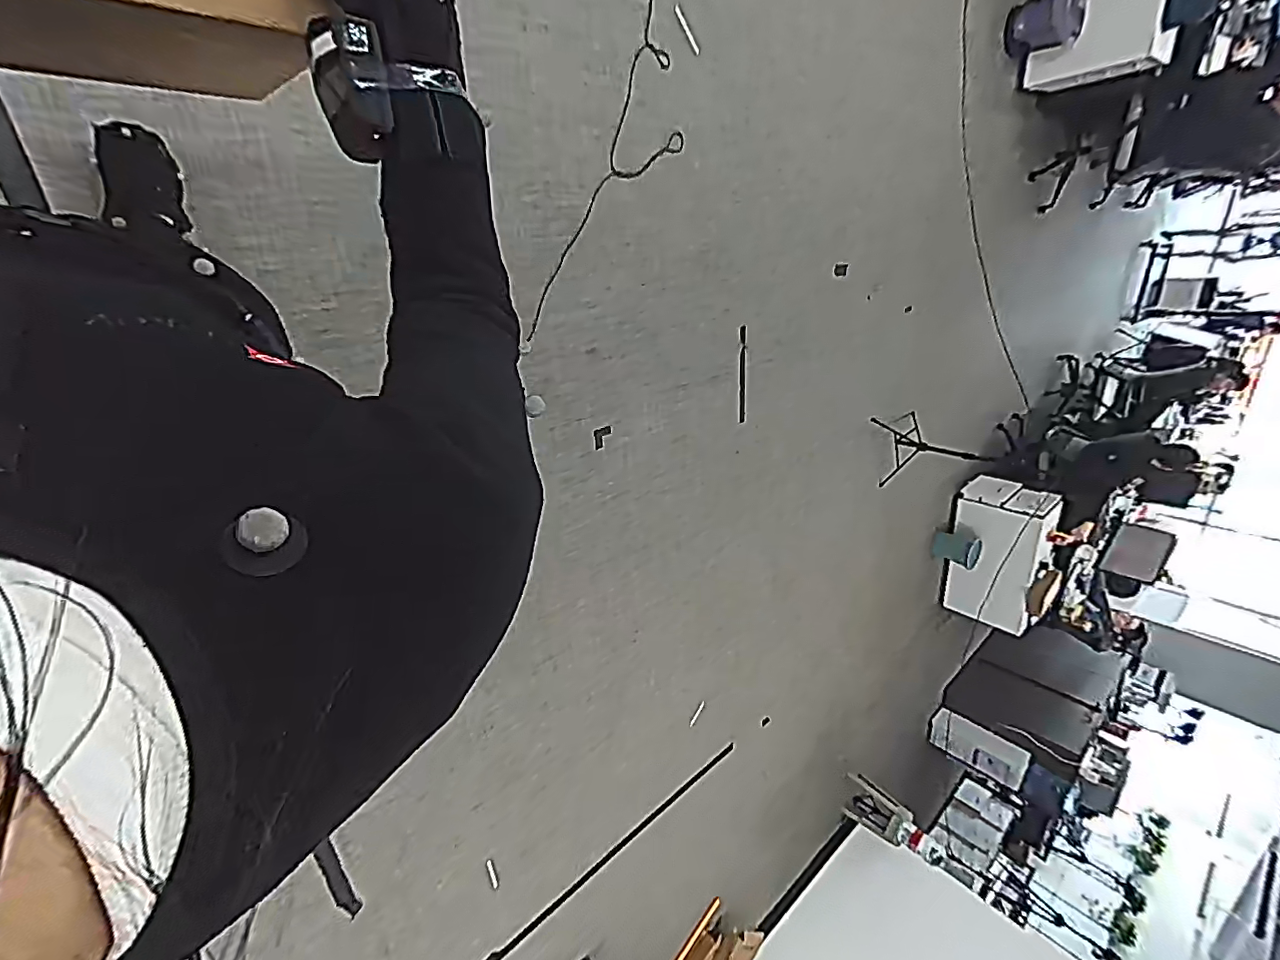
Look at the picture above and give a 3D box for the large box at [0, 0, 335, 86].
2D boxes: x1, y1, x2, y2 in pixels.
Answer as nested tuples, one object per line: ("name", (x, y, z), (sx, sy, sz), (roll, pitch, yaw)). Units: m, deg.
("large box", (-0.439, -0.422, 0.262), (0.408, 0.320, 0.320), (-20, 125, -36))
